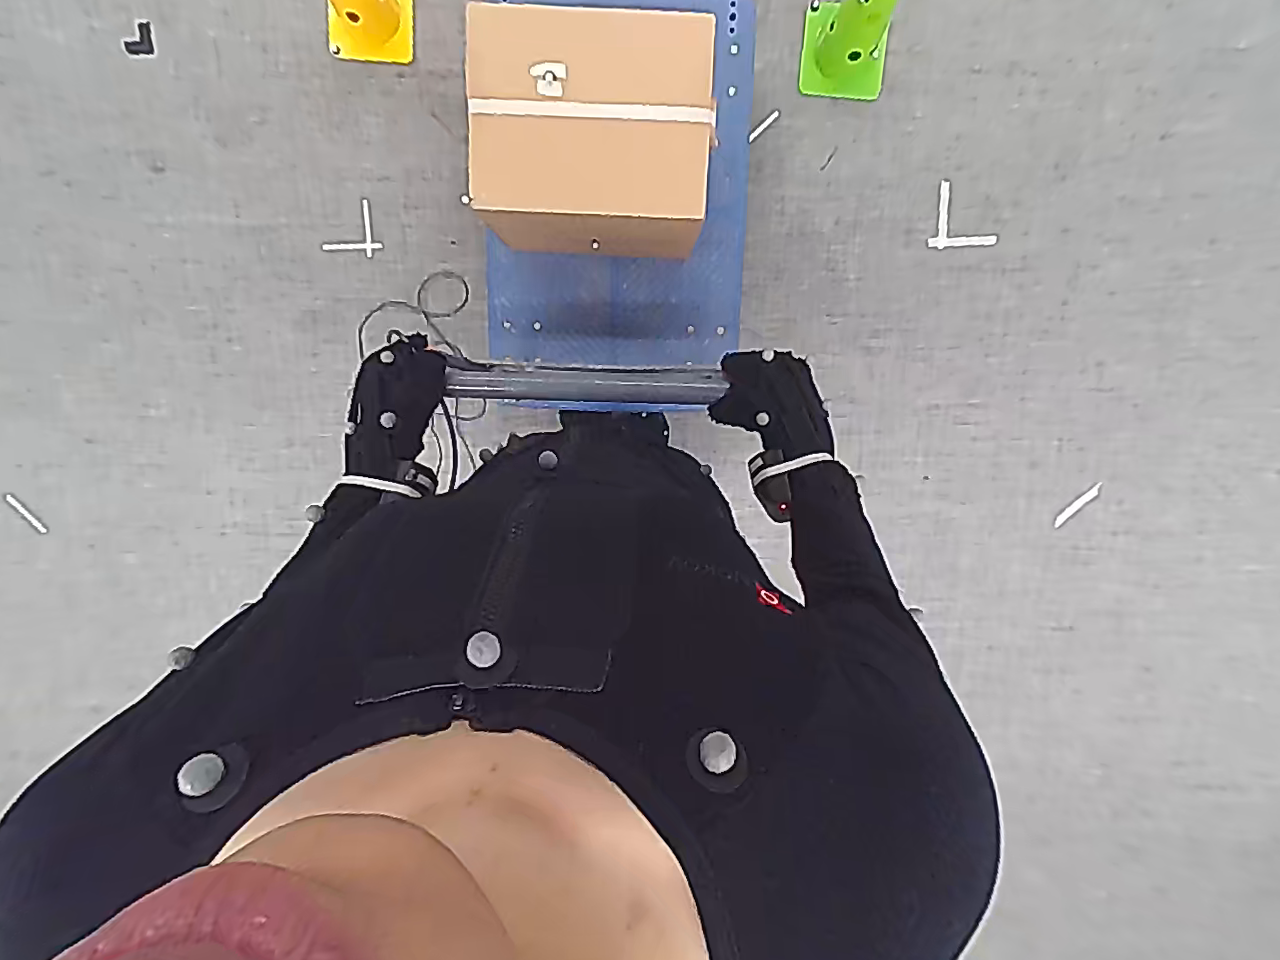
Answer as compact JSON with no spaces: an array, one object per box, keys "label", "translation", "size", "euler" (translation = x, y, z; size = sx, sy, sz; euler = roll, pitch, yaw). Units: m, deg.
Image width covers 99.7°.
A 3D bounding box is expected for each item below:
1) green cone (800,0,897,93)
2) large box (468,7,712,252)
[{"label":"green cone","translation":[0.492,-1.014,1.126],"size":[0.202,0.368,0.200],"euler":[4,100,-2]},{"label":"large box","translation":[-0.081,-0.638,1.046],"size":[0.408,0.320,0.320],"euler":[2,100,0]}]
